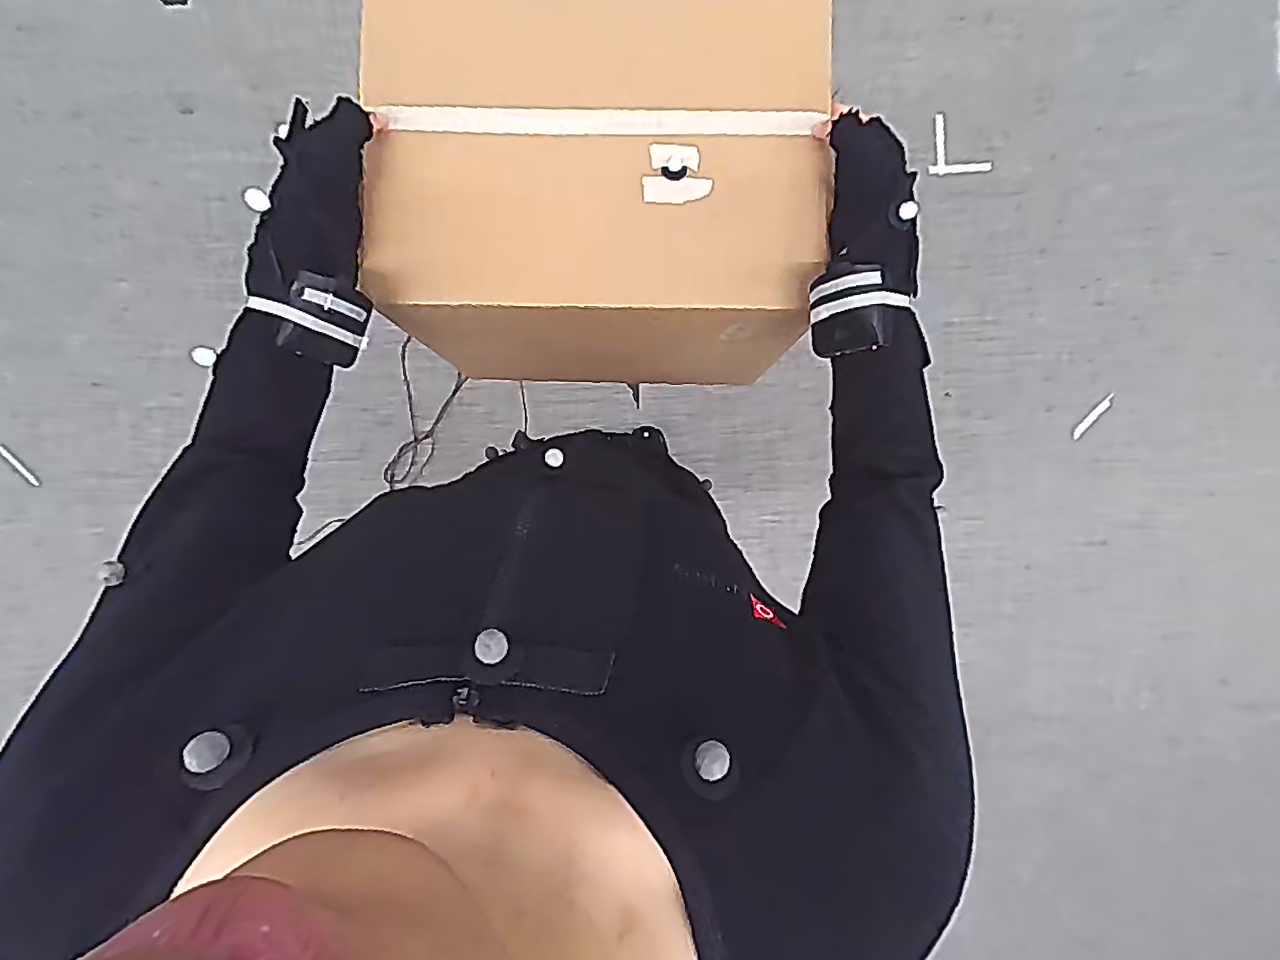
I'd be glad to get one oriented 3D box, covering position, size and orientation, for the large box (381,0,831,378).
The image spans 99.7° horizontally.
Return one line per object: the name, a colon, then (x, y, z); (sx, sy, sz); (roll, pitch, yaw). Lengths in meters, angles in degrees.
large box: (-0.033, -0.306, 0.630); (0.408, 0.320, 0.320); (1, 88, -1)
